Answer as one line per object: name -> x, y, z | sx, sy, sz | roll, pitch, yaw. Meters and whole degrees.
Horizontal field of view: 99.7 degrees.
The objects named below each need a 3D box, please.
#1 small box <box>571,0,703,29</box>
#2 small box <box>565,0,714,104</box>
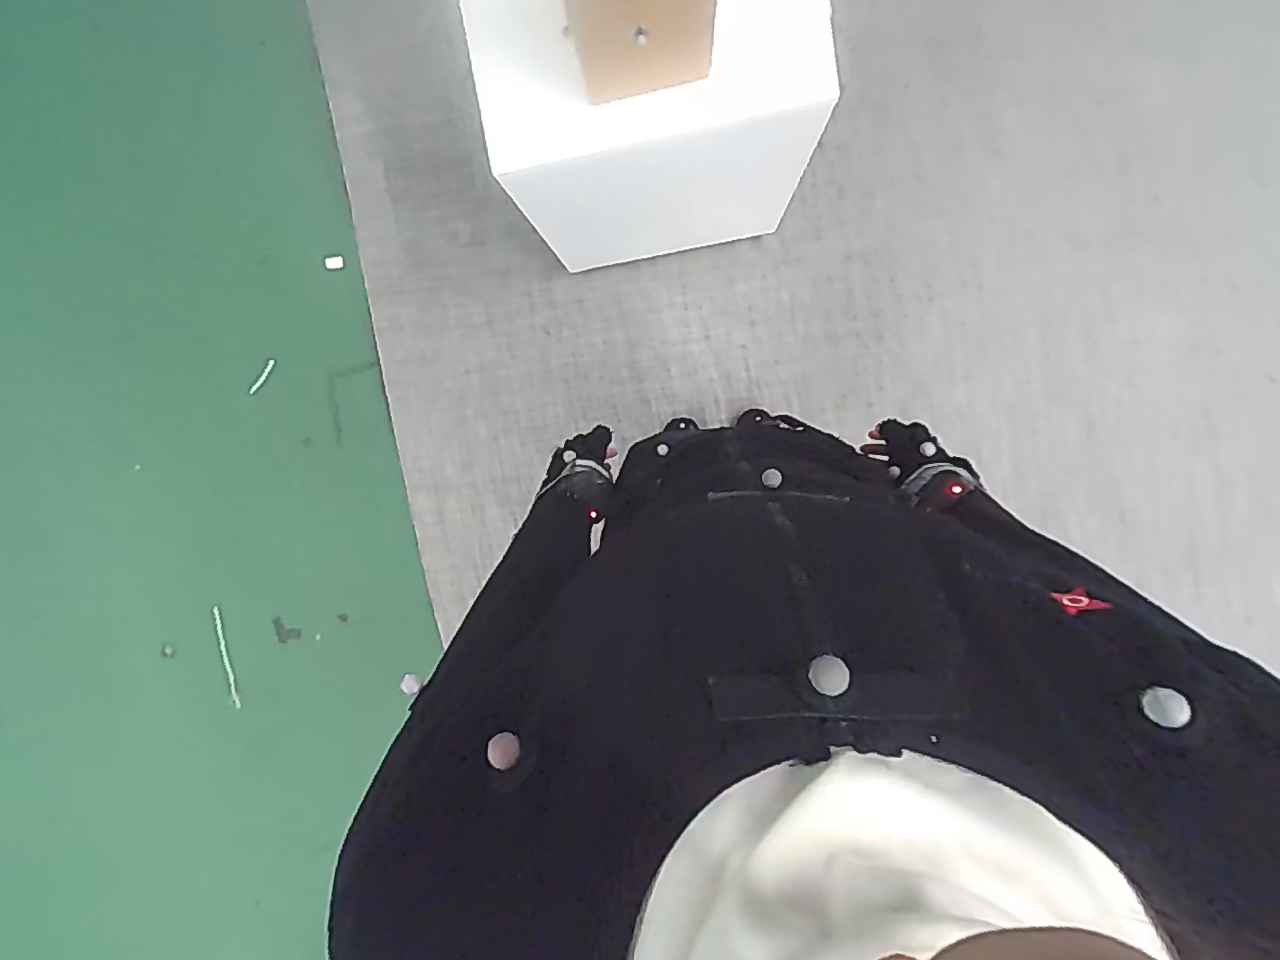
small box -> -0.014, -0.610, 0.533 | 0.168, 0.176, 0.179 | -11, 96, 5
small box -> -0.002, -0.624, 0.694 | 0.179, 0.176, 0.168 | -9, 96, 5
